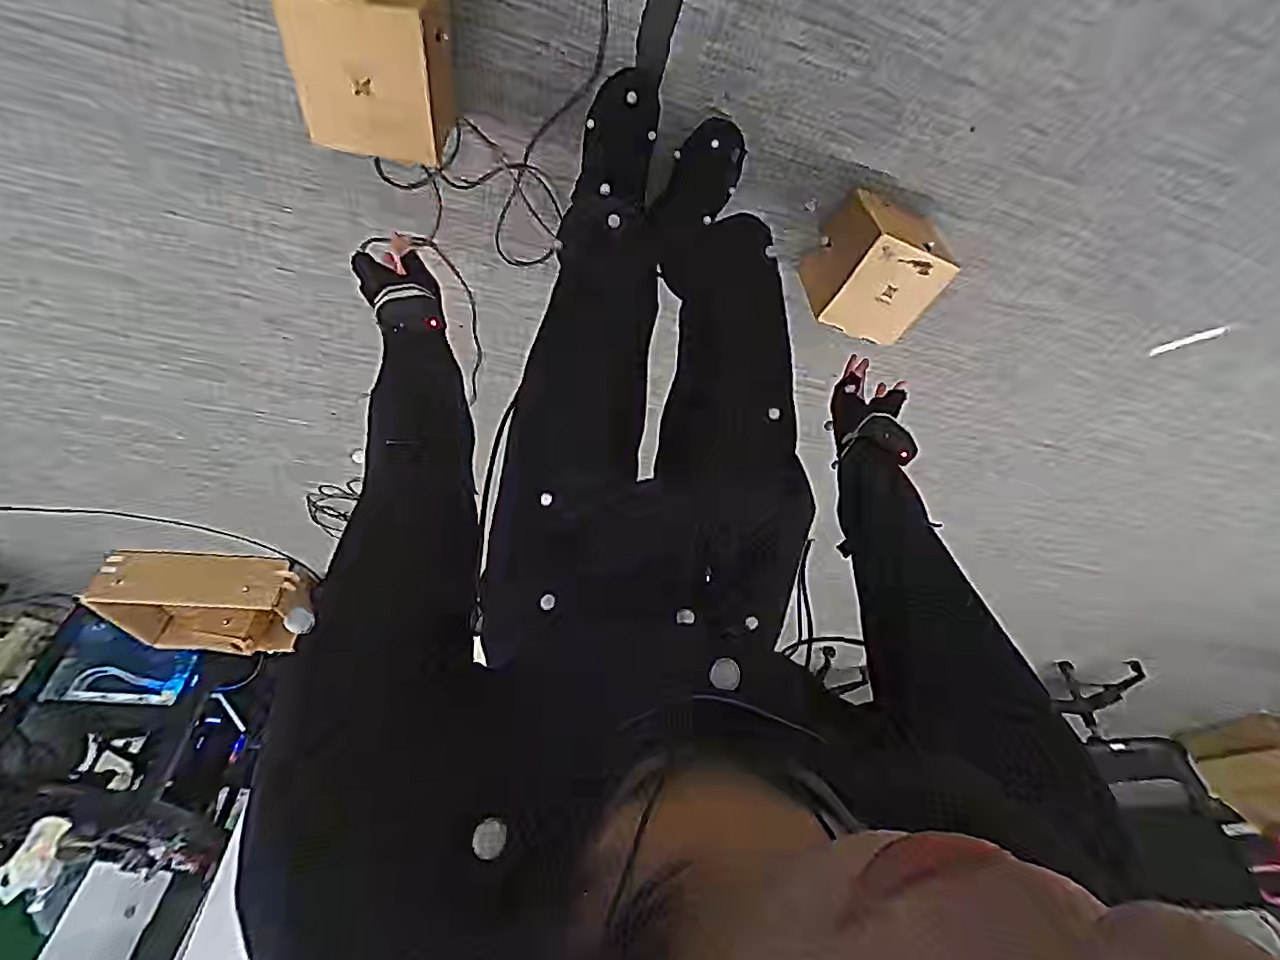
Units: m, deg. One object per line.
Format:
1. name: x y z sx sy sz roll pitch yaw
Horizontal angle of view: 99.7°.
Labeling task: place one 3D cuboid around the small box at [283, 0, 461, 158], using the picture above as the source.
1. small box: -0.345 -0.574 0.729 0.168 0.176 0.179 5 141 -8

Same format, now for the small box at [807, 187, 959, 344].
1. small box: 0.422 -0.385 0.978 0.168 0.176 0.179 14 139 -17
